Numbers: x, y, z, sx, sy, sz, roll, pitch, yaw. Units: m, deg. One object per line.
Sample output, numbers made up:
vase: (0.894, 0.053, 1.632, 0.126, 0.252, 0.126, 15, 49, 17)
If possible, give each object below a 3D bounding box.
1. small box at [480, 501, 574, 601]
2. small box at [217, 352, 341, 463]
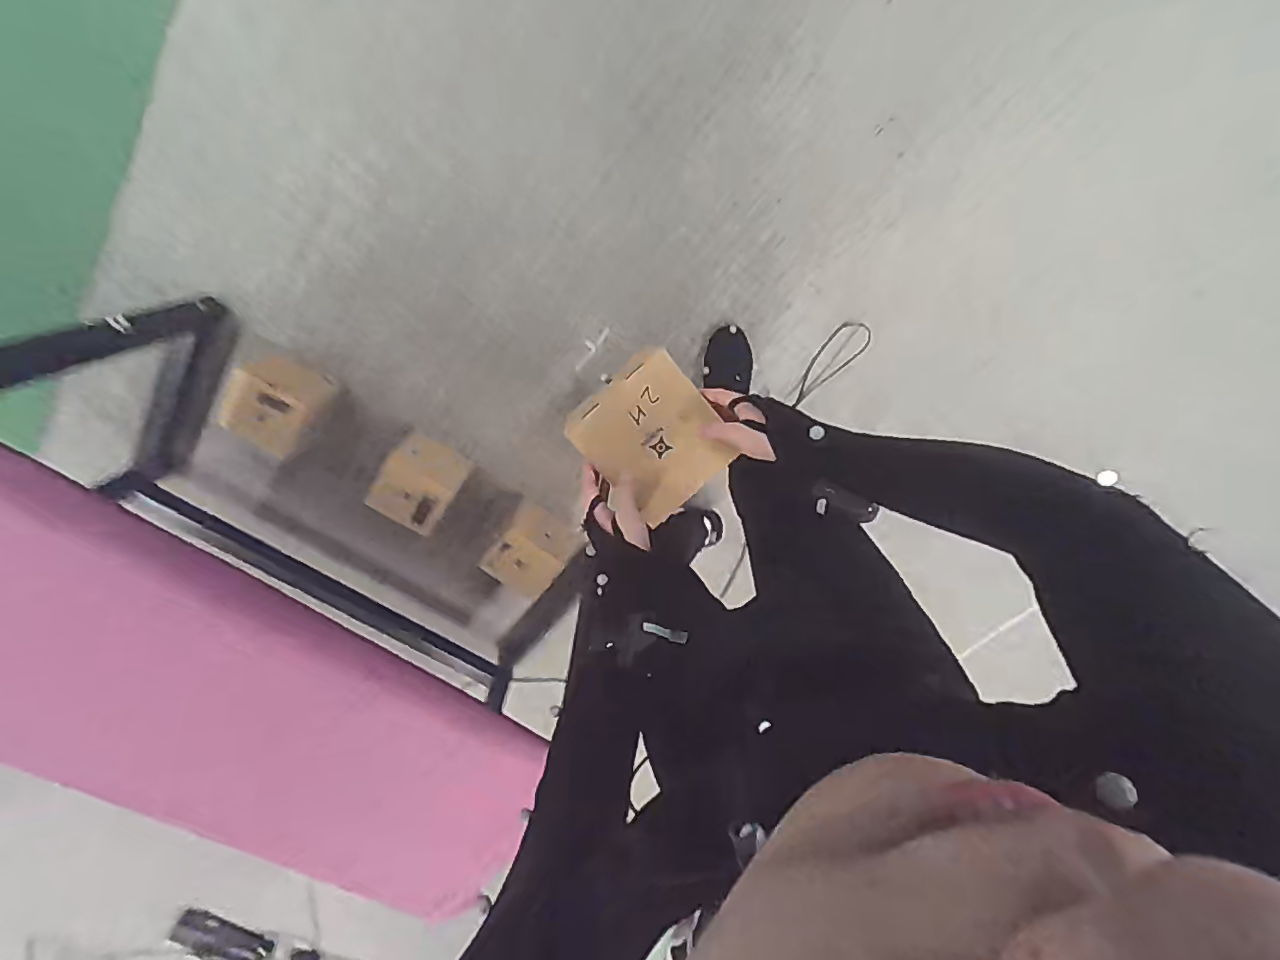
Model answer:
small box: (-0.300, 0.188, 1.474, 0.179, 0.176, 0.168, 38, 112, -17)
small box: (-0.852, -0.180, 1.292, 0.168, 0.176, 0.179, 33, 115, -14)
